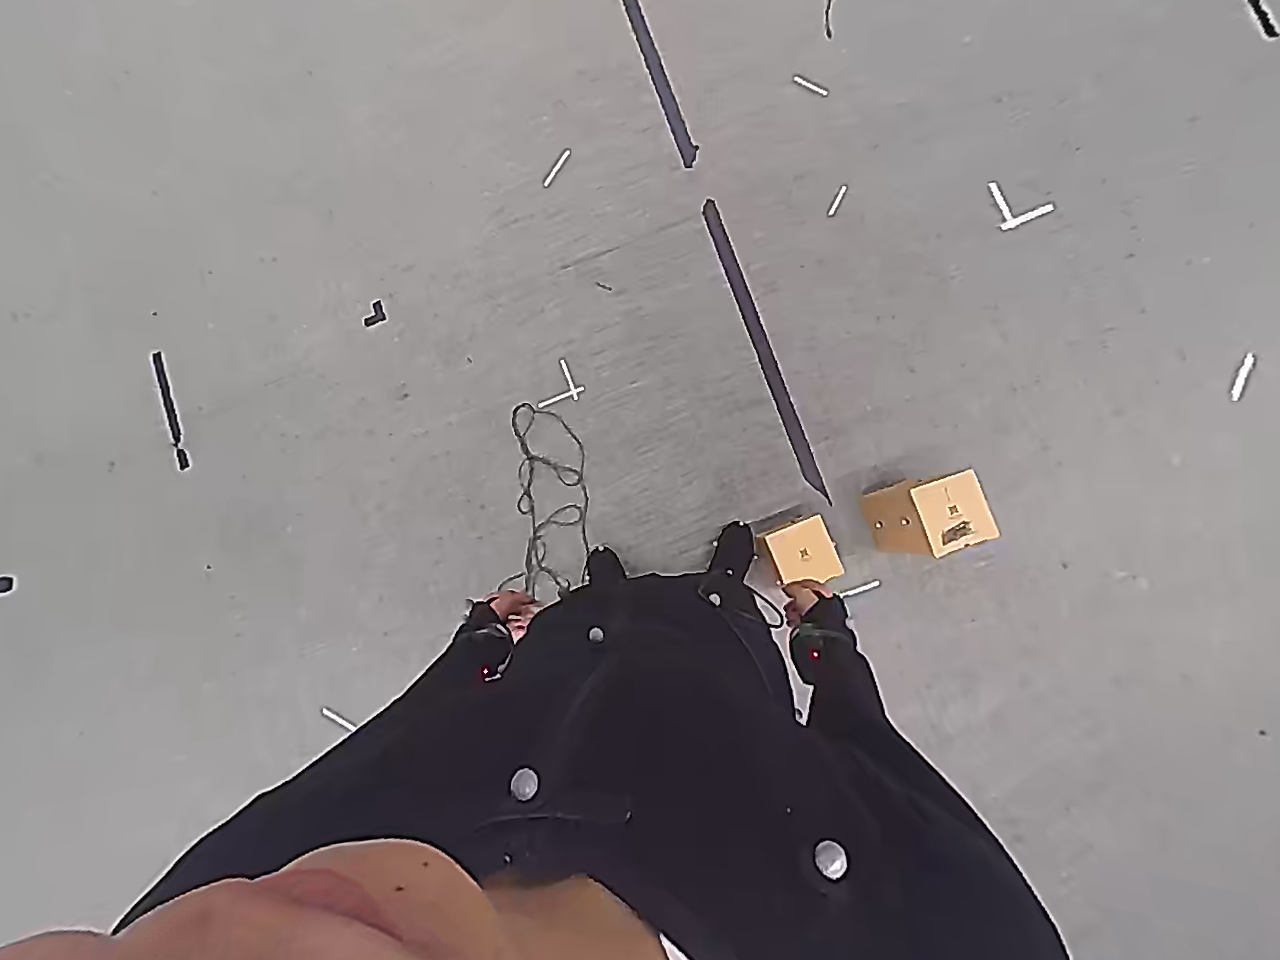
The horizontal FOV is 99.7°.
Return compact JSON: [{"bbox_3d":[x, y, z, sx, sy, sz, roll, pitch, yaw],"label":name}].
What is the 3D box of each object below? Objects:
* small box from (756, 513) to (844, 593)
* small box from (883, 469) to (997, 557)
[{"bbox_3d":[0.448,0.207,1.548,0.168,0.176,0.179,-23,85,0],"label":"small box"},{"bbox_3d":[0.755,0.084,1.380,0.168,0.176,0.179,-18,84,0],"label":"small box"}]
